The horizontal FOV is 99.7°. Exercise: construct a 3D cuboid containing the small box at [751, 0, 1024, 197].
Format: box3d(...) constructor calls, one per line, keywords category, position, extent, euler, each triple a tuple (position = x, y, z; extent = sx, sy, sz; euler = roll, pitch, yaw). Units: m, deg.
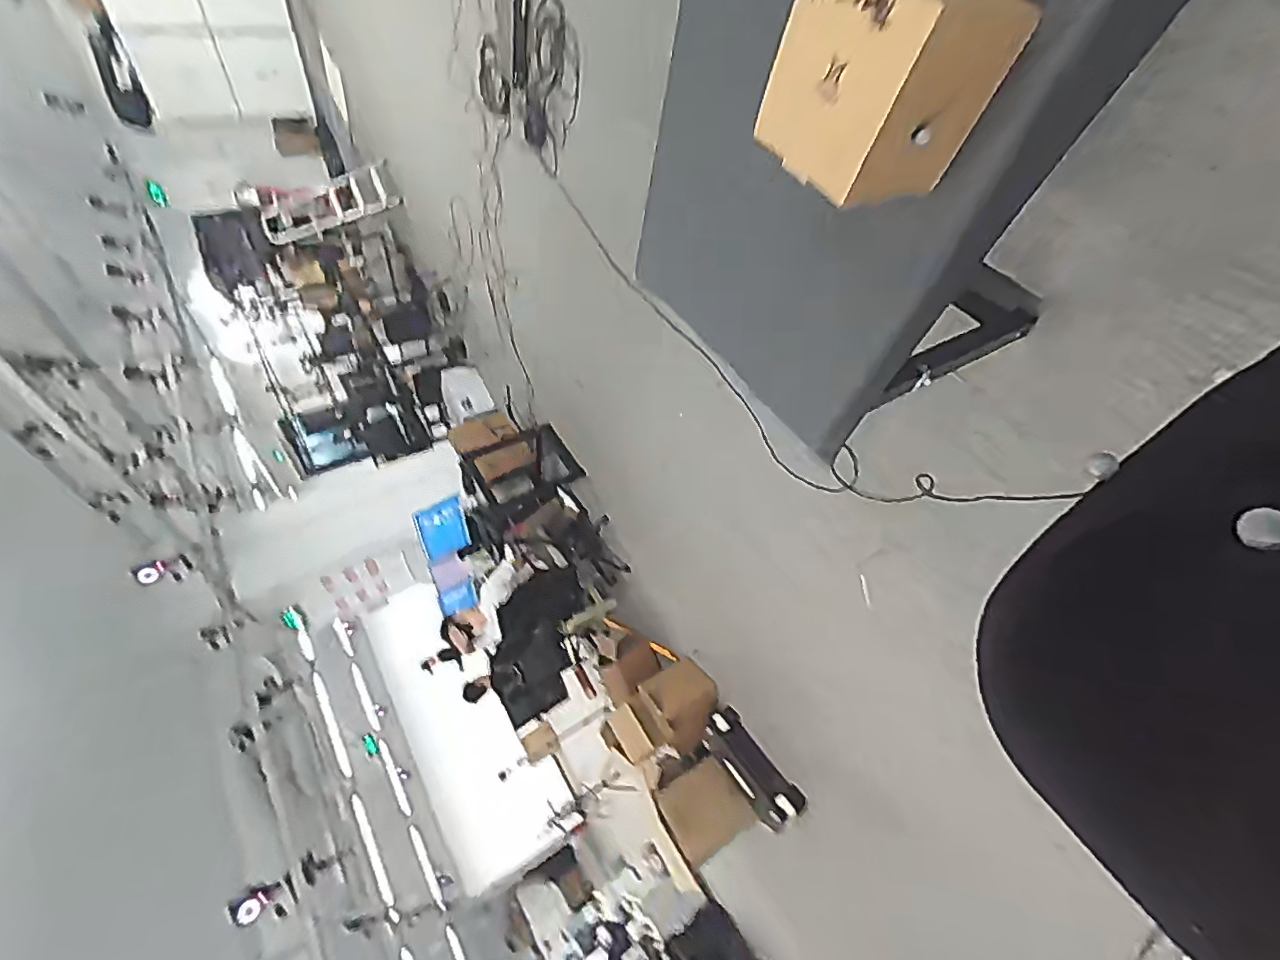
box3d(category="small box", position=(0.257, -0.442, 0.584), extent=(0.168, 0.176, 0.179), euler=(56, 152, 23))
